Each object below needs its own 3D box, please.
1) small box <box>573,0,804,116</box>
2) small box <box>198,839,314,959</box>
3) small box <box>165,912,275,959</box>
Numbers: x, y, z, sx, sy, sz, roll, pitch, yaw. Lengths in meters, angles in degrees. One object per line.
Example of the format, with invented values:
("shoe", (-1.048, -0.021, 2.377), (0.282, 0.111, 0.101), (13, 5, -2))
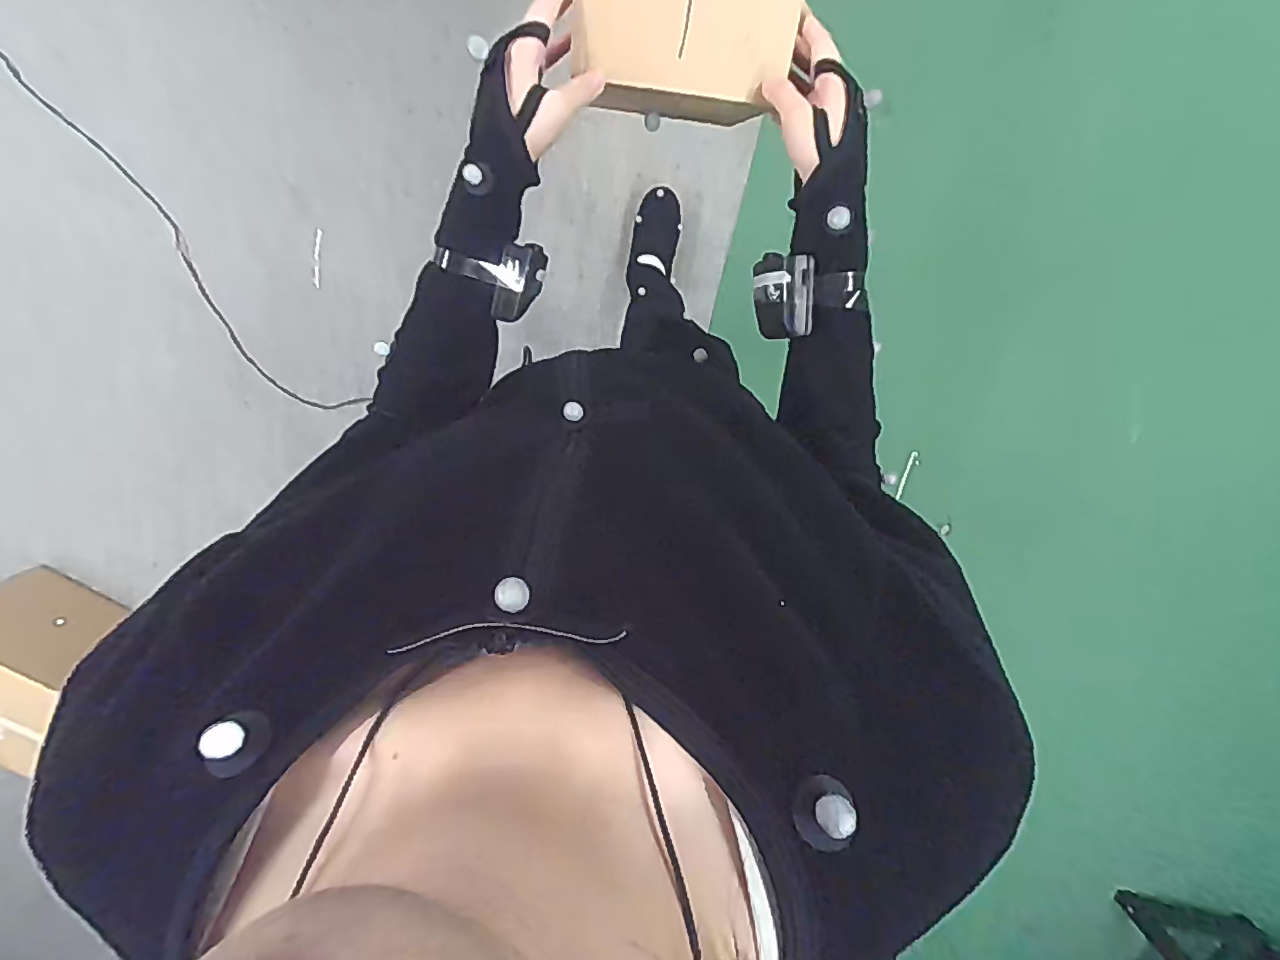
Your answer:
("small box", (0.033, -0.413, 0.433), (0.168, 0.176, 0.179), (3, 119, -7))
("small box", (-0.902, 1.002, 1.282), (0.168, 0.176, 0.179), (12, 105, -5))
("small box", (-0.893, 1.048, 1.125), (0.168, 0.176, 0.179), (10, 105, -4))
